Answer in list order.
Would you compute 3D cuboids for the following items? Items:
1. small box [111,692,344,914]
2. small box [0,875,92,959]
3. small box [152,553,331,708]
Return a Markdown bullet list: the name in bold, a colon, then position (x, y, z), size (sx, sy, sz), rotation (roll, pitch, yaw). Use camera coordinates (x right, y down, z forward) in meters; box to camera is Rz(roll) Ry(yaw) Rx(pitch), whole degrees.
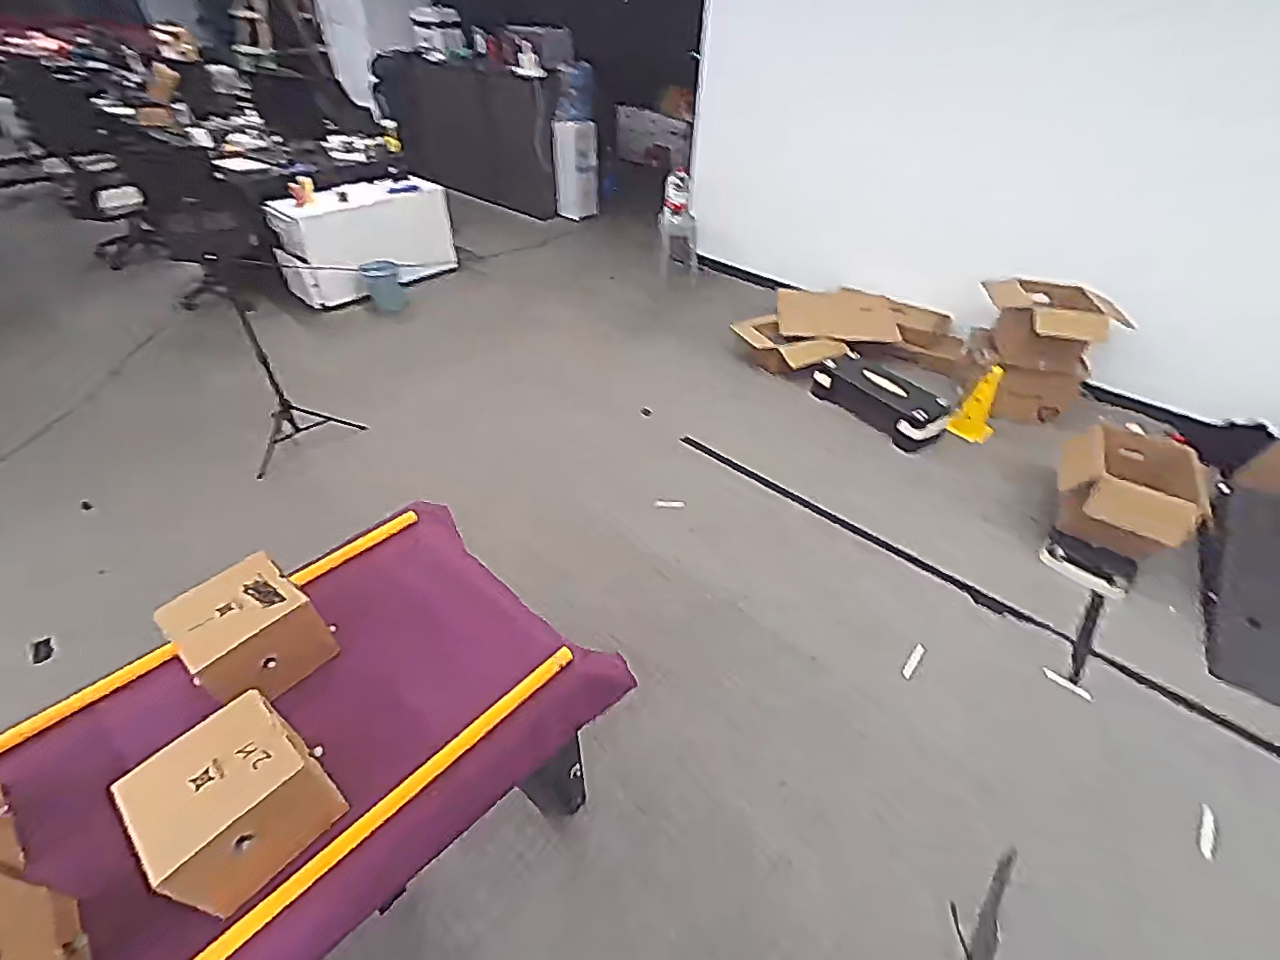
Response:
- **small box**: position (-0.551, 0.441, 0.742), size (0.168, 0.176, 0.179), rotation (29, 48, 29)
- **small box**: position (-0.742, 0.581, 0.581), size (0.179, 0.176, 0.168), rotation (31, 50, 29)
- **small box**: position (-0.667, 0.268, 0.931), size (0.168, 0.176, 0.179), rotation (30, 50, 26)
